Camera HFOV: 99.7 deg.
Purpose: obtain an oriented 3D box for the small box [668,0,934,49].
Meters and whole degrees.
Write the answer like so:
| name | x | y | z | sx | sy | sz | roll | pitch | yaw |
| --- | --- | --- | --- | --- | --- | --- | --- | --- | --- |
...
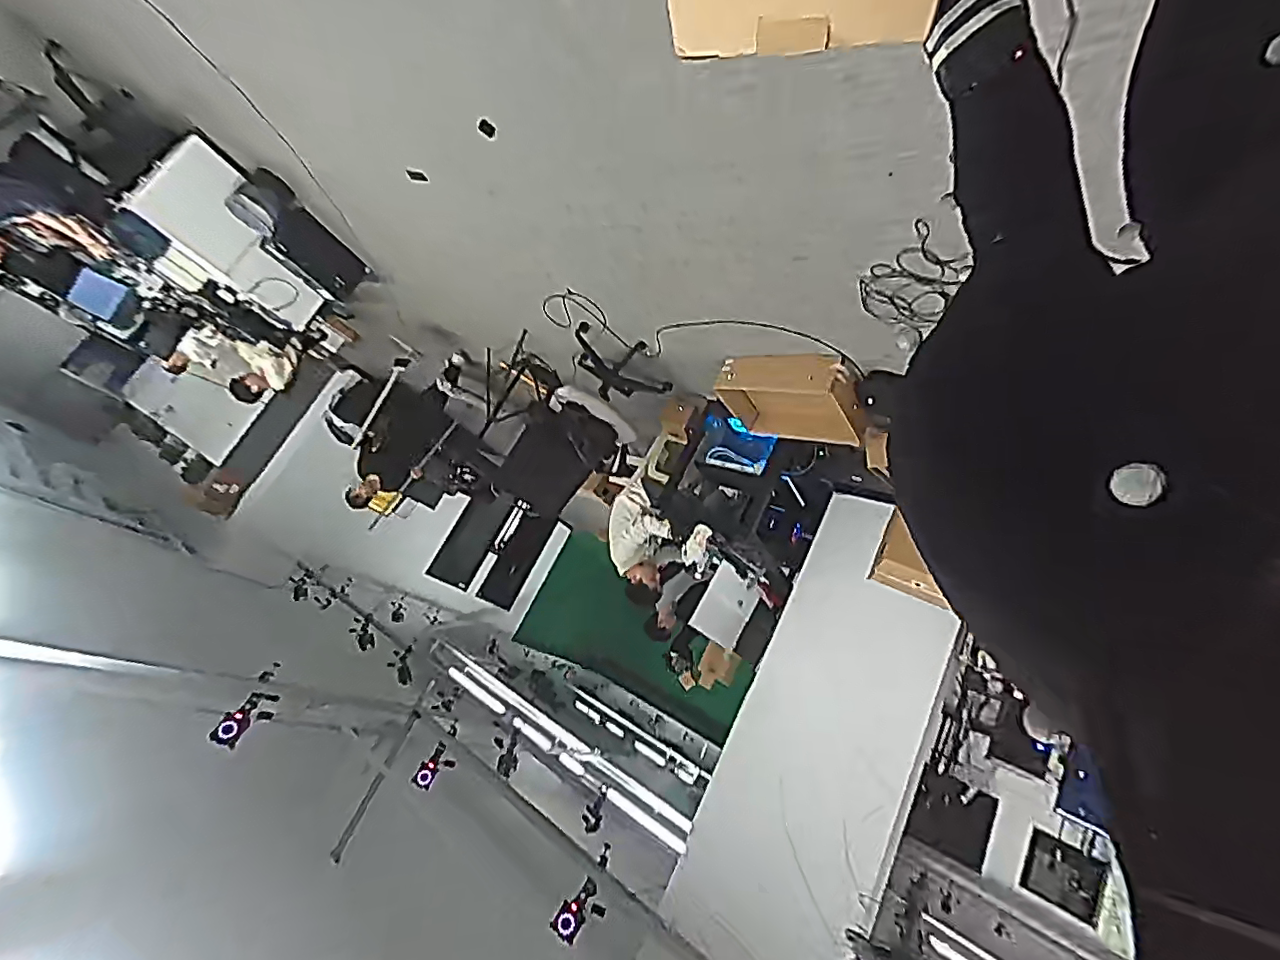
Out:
| name | x | y | z | sx | sy | sz | roll | pitch | yaw |
| --- | --- | --- | --- | --- | --- | --- | --- | --- | --- |
| small box | 0.101 | -0.390 | 0.301 | 0.168 | 0.179 | 0.176 | 13 | 160 | 19 |
